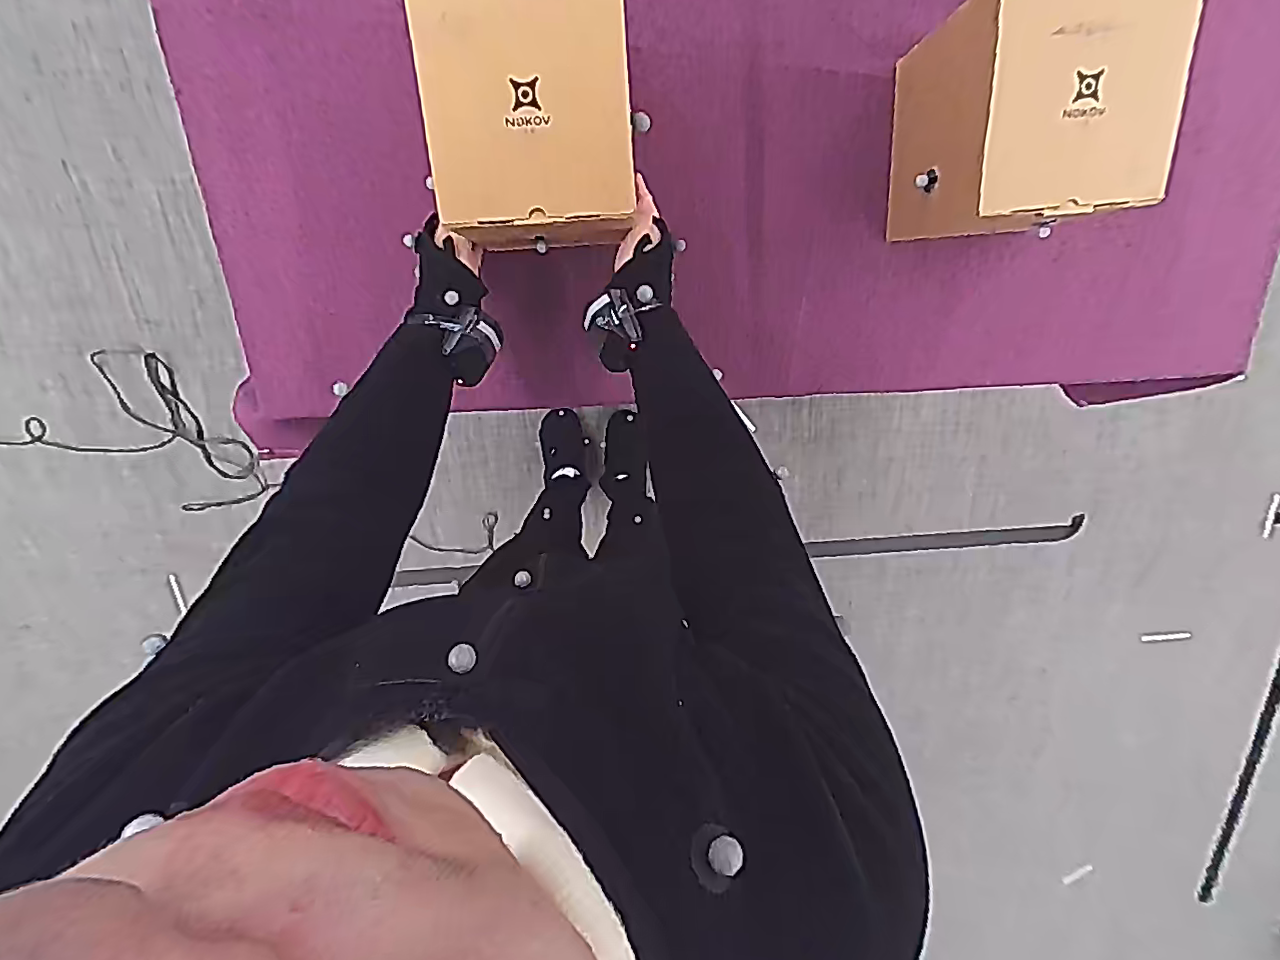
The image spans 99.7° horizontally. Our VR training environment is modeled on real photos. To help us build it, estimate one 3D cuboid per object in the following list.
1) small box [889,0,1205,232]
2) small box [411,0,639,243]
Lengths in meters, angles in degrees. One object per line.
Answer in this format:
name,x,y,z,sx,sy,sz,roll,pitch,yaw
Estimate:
small box,0.358,-0.340,0.515,0.168,0.176,0.179,-4,108,-1
small box,-0.091,-0.327,0.502,0.168,0.176,0.179,-4,109,-1
